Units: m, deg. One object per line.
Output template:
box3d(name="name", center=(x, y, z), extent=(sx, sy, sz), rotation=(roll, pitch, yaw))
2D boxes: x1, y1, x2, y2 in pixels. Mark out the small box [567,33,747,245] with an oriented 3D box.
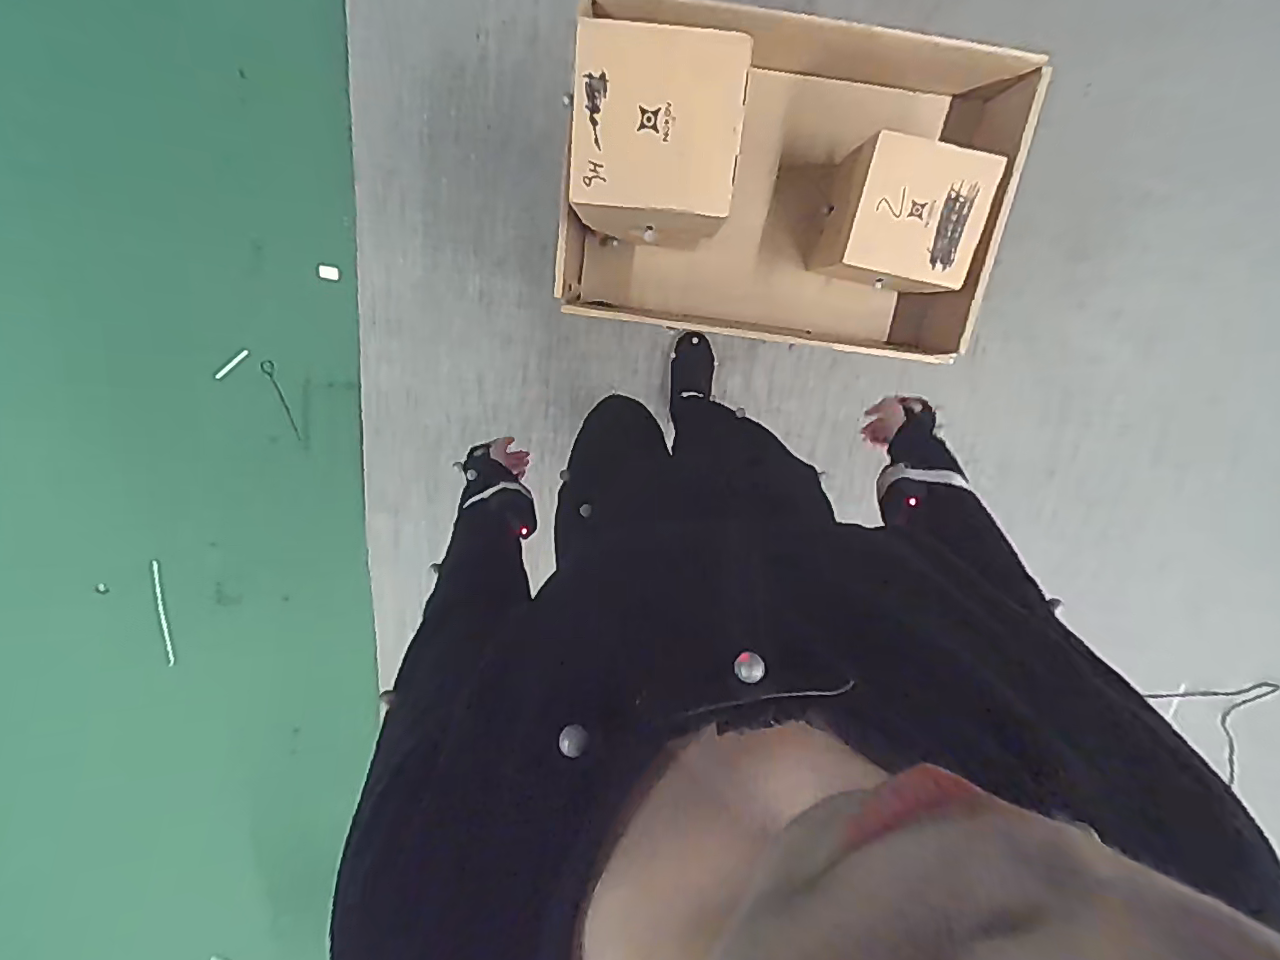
box3d(name="small box", center=(0.015, -0.385, 0.643), extent=(0.179, 0.176, 0.168), rotation=(5, 105, 0))
